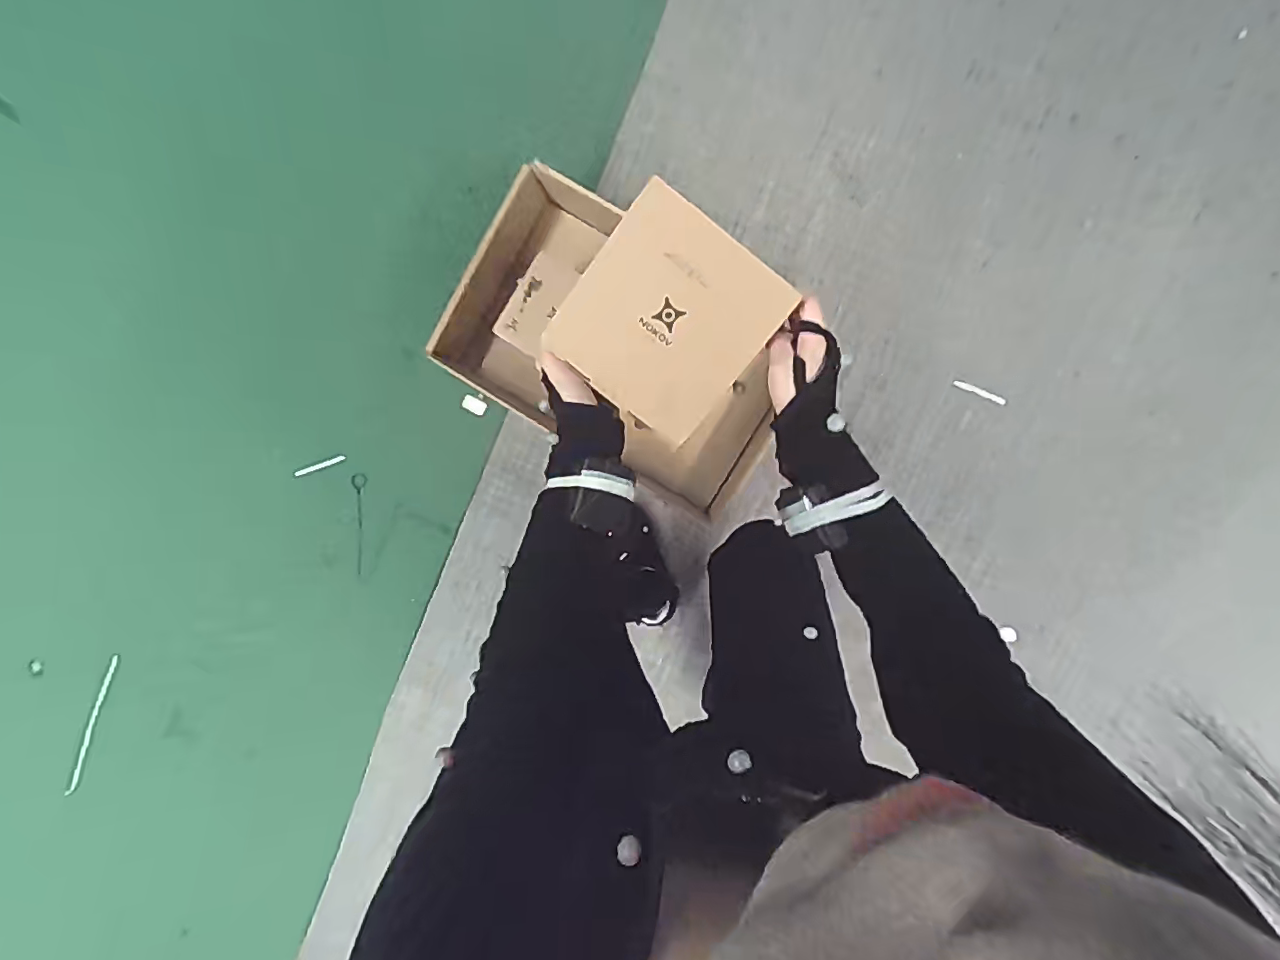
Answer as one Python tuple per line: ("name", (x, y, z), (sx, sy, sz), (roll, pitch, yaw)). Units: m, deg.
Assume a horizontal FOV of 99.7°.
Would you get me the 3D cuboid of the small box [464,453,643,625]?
("small box", (-0.119, 0.079, 0.783), (0.176, 0.168, 0.179), (41, 87, -8))
